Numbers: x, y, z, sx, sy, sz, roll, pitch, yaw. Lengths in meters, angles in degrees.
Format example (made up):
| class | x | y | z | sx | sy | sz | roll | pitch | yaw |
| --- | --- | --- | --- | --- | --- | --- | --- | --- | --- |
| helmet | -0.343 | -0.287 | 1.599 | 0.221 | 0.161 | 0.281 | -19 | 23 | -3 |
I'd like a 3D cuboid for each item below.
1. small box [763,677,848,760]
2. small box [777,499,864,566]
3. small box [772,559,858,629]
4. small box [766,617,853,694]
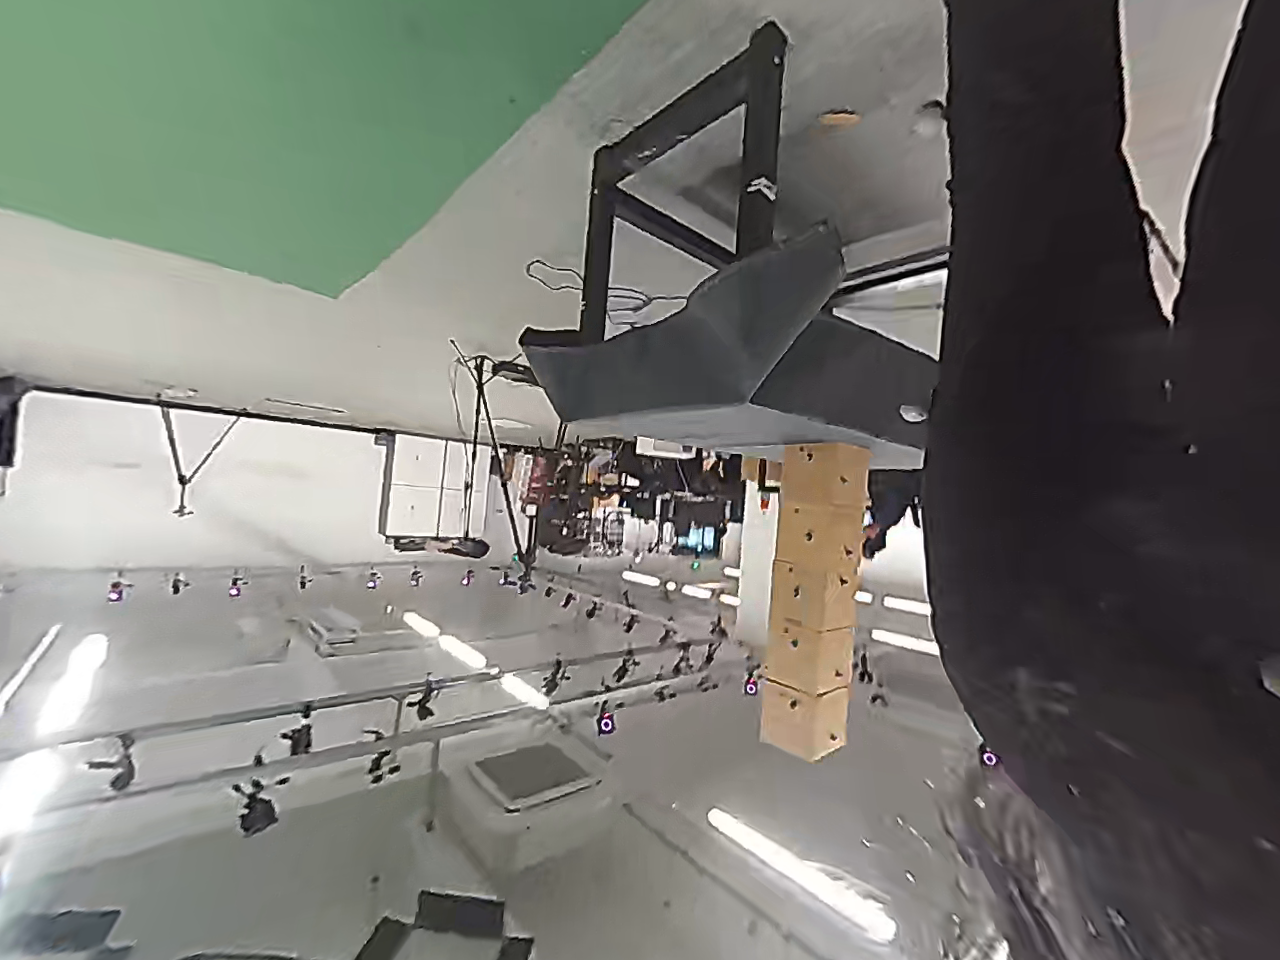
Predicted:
| class | x | y | z | sx | sy | sz | roll | pitch | yaw |
| --- | --- | --- | --- | --- | --- | --- | --- | --- | --- |
| small box | 0.458 | 0.631 | 1.486 | 0.179 | 0.176 | 0.168 | 6 | 177 | -43 |
| small box | 0.499 | 0.141 | 1.494 | 0.179 | 0.176 | 0.168 | 6 | 177 | -40 |
| small box | 0.484 | 0.304 | 1.494 | 0.179 | 0.176 | 0.168 | 7 | 177 | -42 |
| small box | 0.473 | 0.469 | 1.495 | 0.179 | 0.176 | 0.168 | 7 | 177 | -40 |
